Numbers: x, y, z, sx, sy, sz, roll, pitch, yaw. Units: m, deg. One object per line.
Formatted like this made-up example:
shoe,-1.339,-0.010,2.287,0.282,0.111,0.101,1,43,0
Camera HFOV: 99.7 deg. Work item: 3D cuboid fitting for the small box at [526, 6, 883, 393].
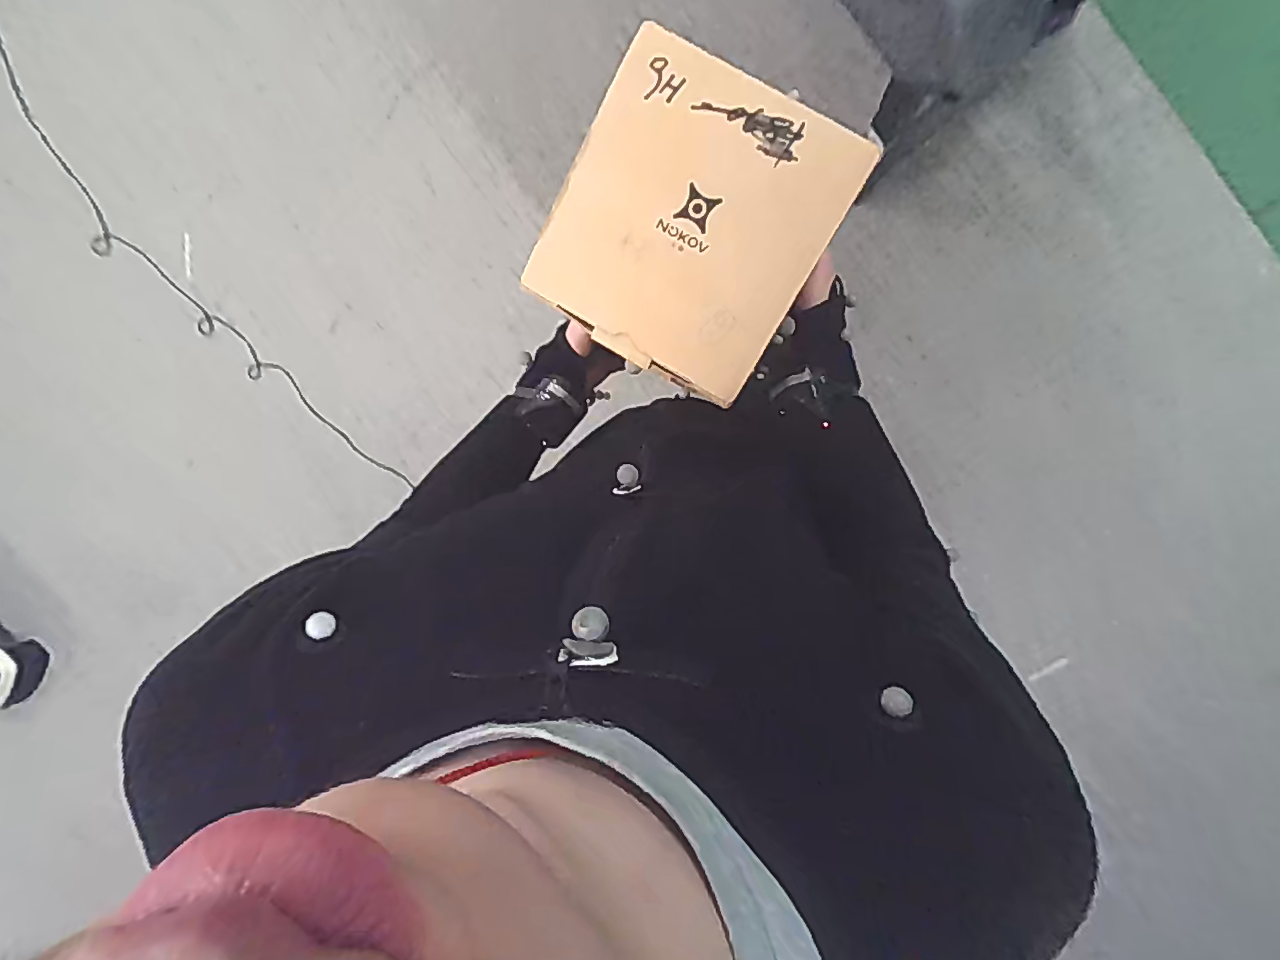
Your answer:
small box,0.046,-0.182,0.413,0.168,0.176,0.179,30,103,2
